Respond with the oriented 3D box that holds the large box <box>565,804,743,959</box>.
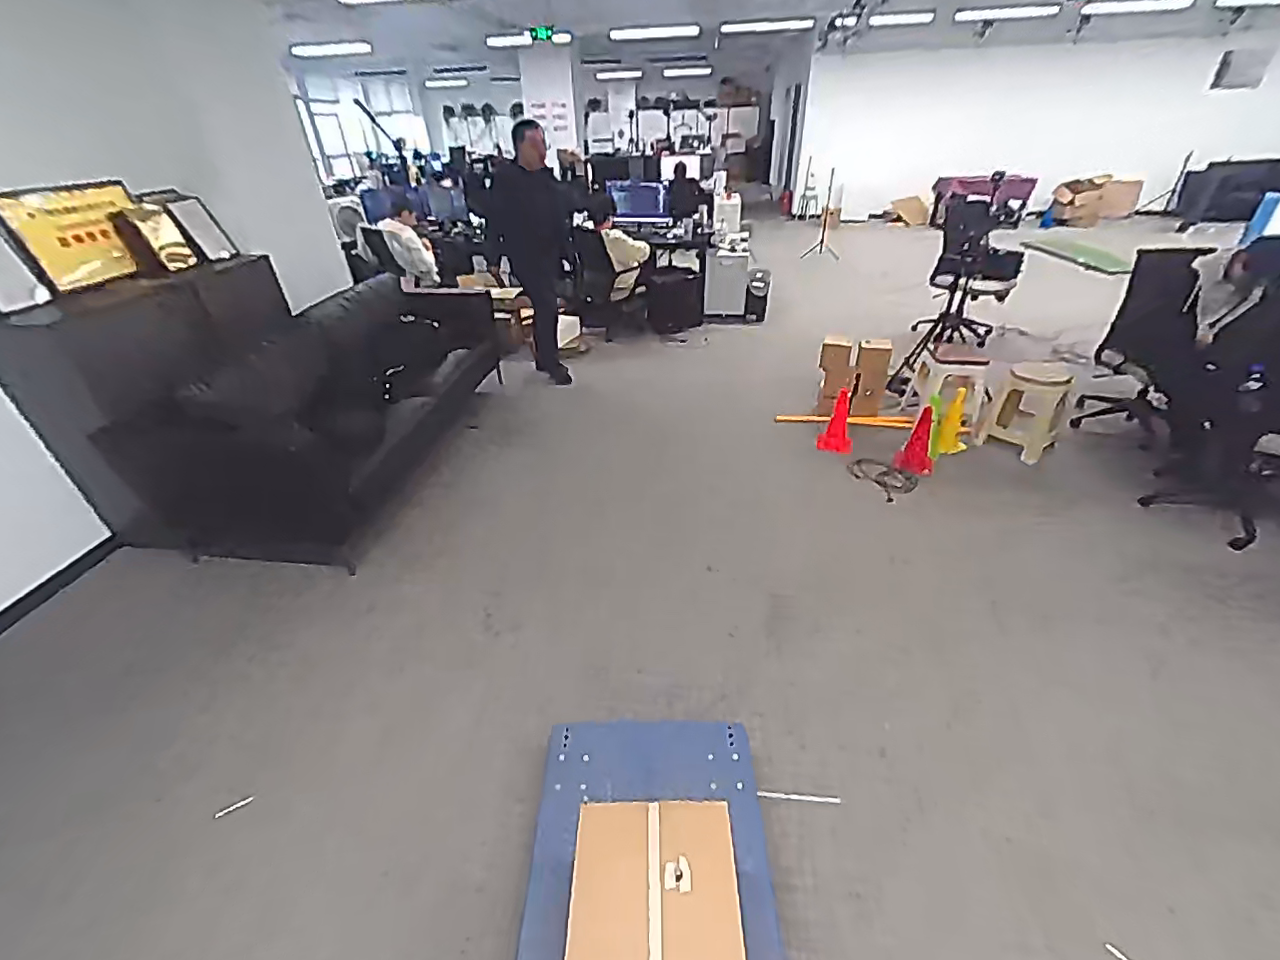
[{"bbox_3d":[0.029,0.926,1.064,0.320,0.320,0.408,-1,33,1],"label":"large box"}]
